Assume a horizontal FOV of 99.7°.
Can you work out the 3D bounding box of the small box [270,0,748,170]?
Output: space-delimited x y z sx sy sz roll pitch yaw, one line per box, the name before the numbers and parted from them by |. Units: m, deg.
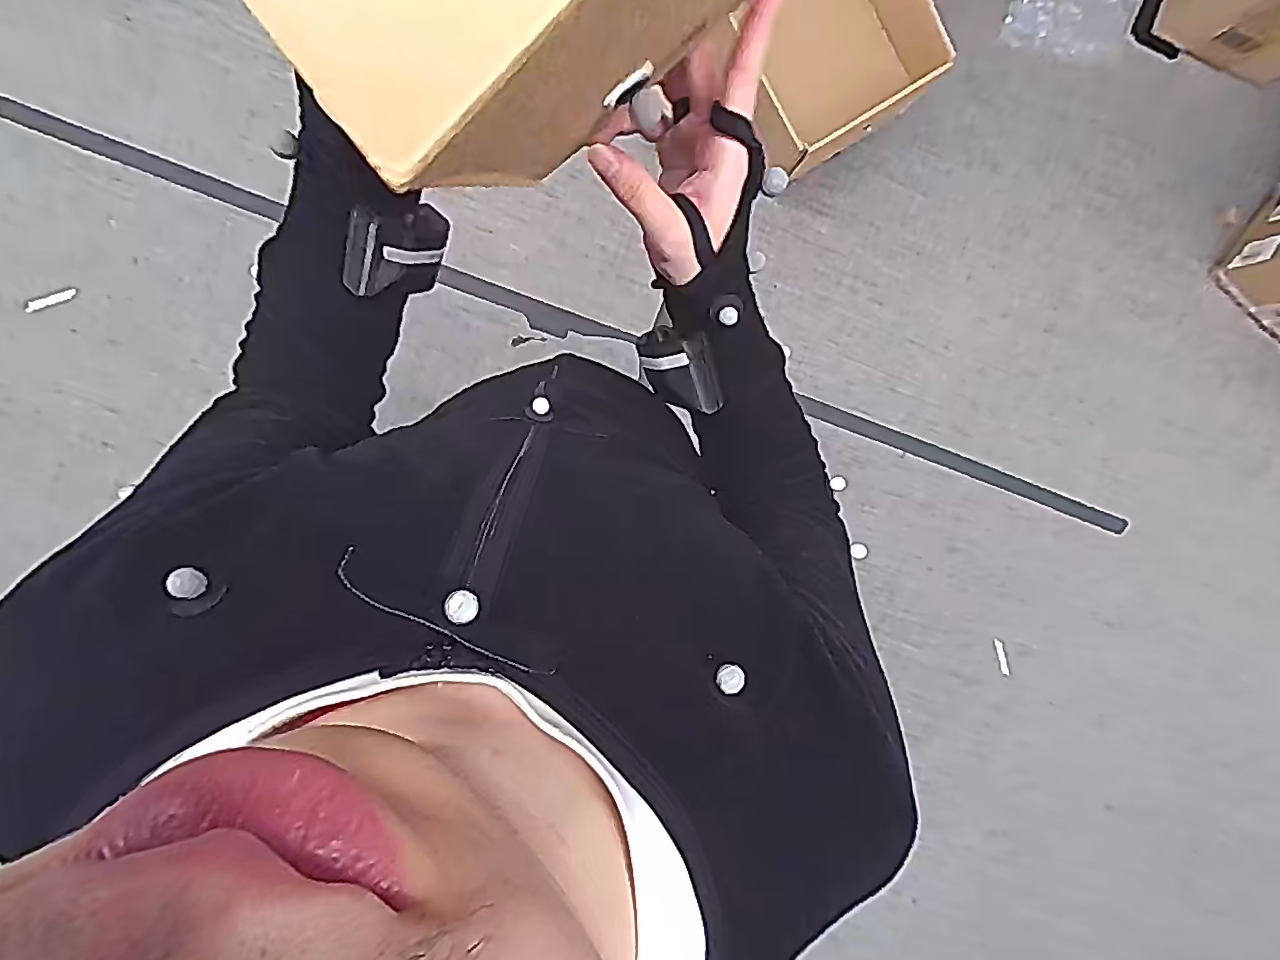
small box | -0.050 -0.237 0.187 0.168 0.176 0.179 -32 111 23
